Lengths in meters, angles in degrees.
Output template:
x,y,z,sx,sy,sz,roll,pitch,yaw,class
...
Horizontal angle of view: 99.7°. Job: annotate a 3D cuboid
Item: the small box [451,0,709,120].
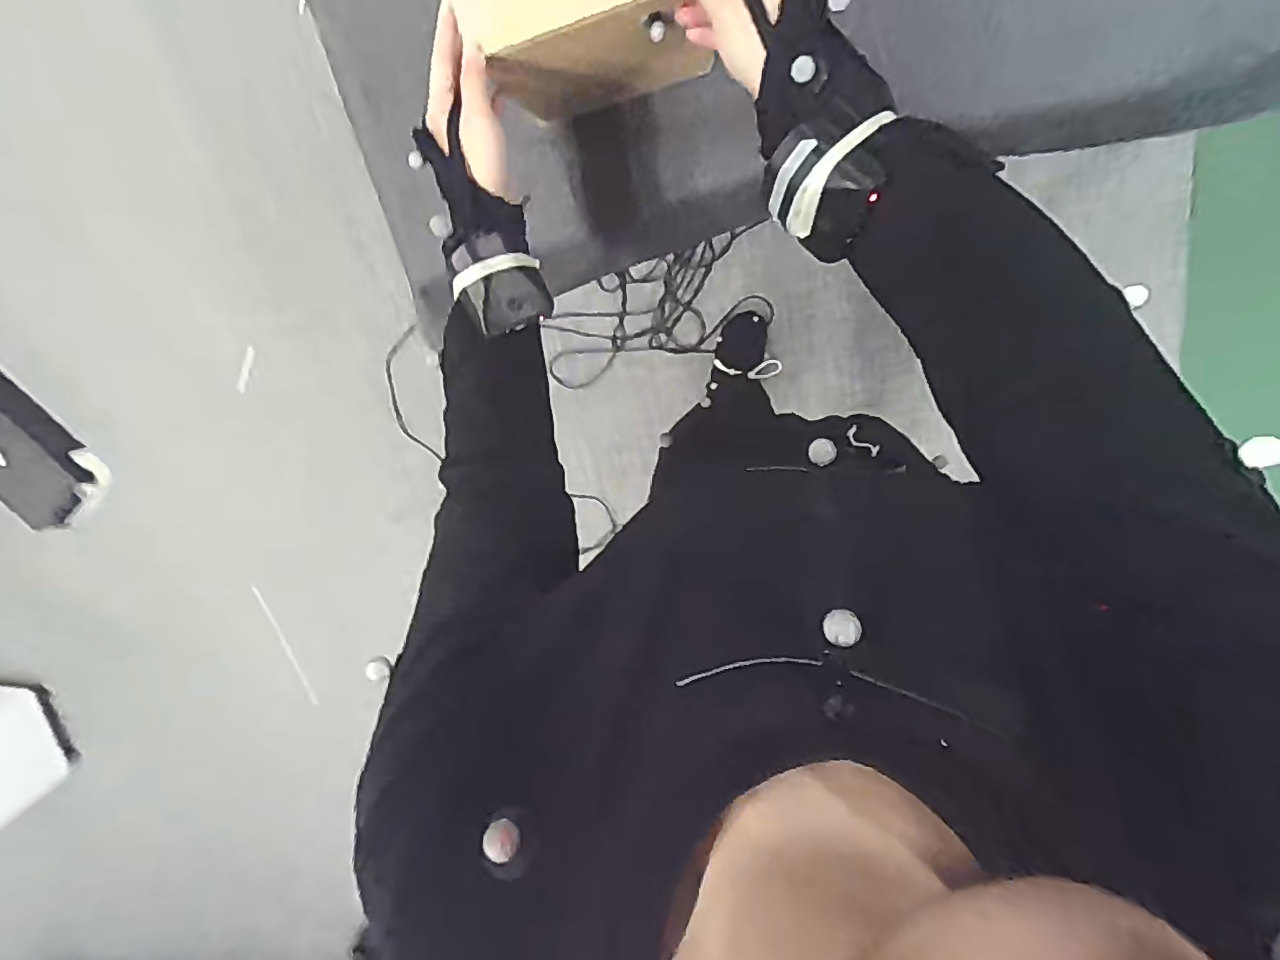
x,y,z,sx,sy,sz,roll,pitch,yaw,class
-0.048,-0.413,0.418,0.179,0.176,0.168,-12,106,11,small box
